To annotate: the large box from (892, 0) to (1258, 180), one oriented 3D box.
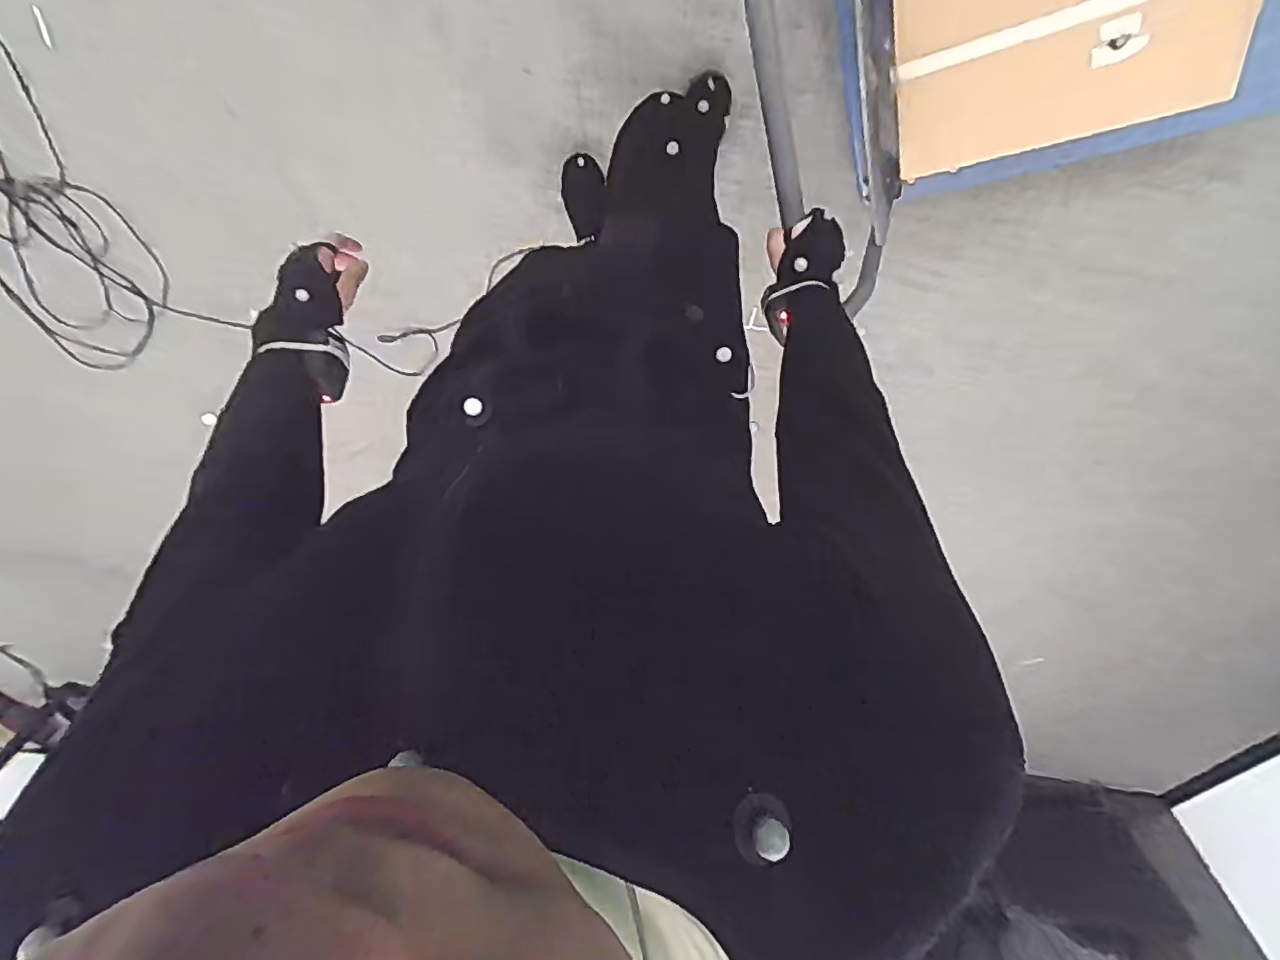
[{"bbox_3d":[0.613,-0.716,0.825,0.408,0.320,0.320,-2,131,27],"label":"large box"}]
